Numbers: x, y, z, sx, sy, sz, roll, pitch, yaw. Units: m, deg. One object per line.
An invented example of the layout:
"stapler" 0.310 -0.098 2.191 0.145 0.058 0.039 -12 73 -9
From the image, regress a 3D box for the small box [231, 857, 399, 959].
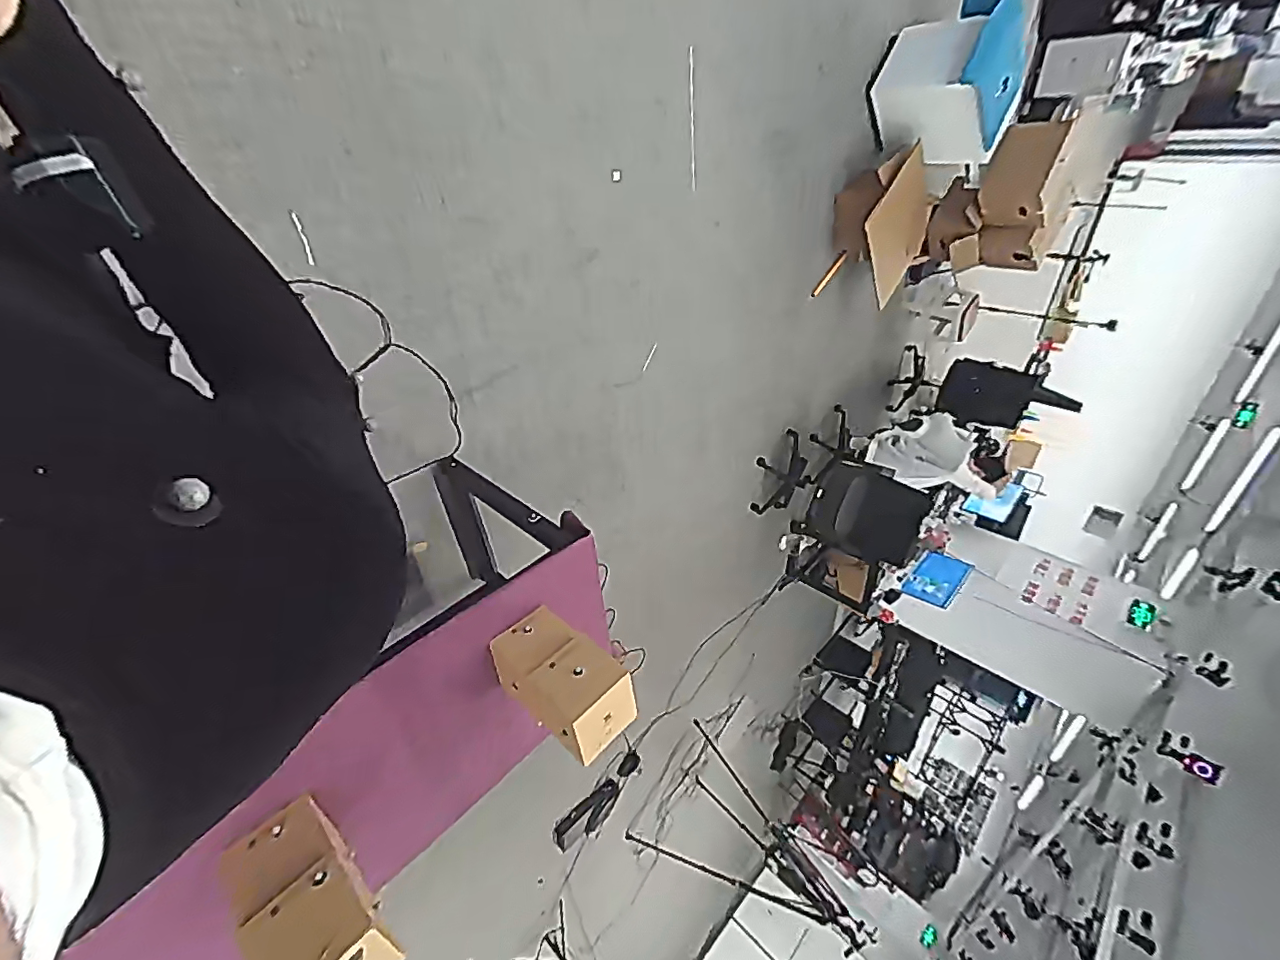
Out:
"small box" -0.554 0.796 0.925 0.168 0.176 0.179 -35 137 -35

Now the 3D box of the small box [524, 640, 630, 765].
"small box" -0.144 0.494 1.233 0.168 0.176 0.179 -33 133 -33

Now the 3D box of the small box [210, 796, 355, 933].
"small box" -0.673 0.753 1.031 0.168 0.176 0.179 -33 134 -36
